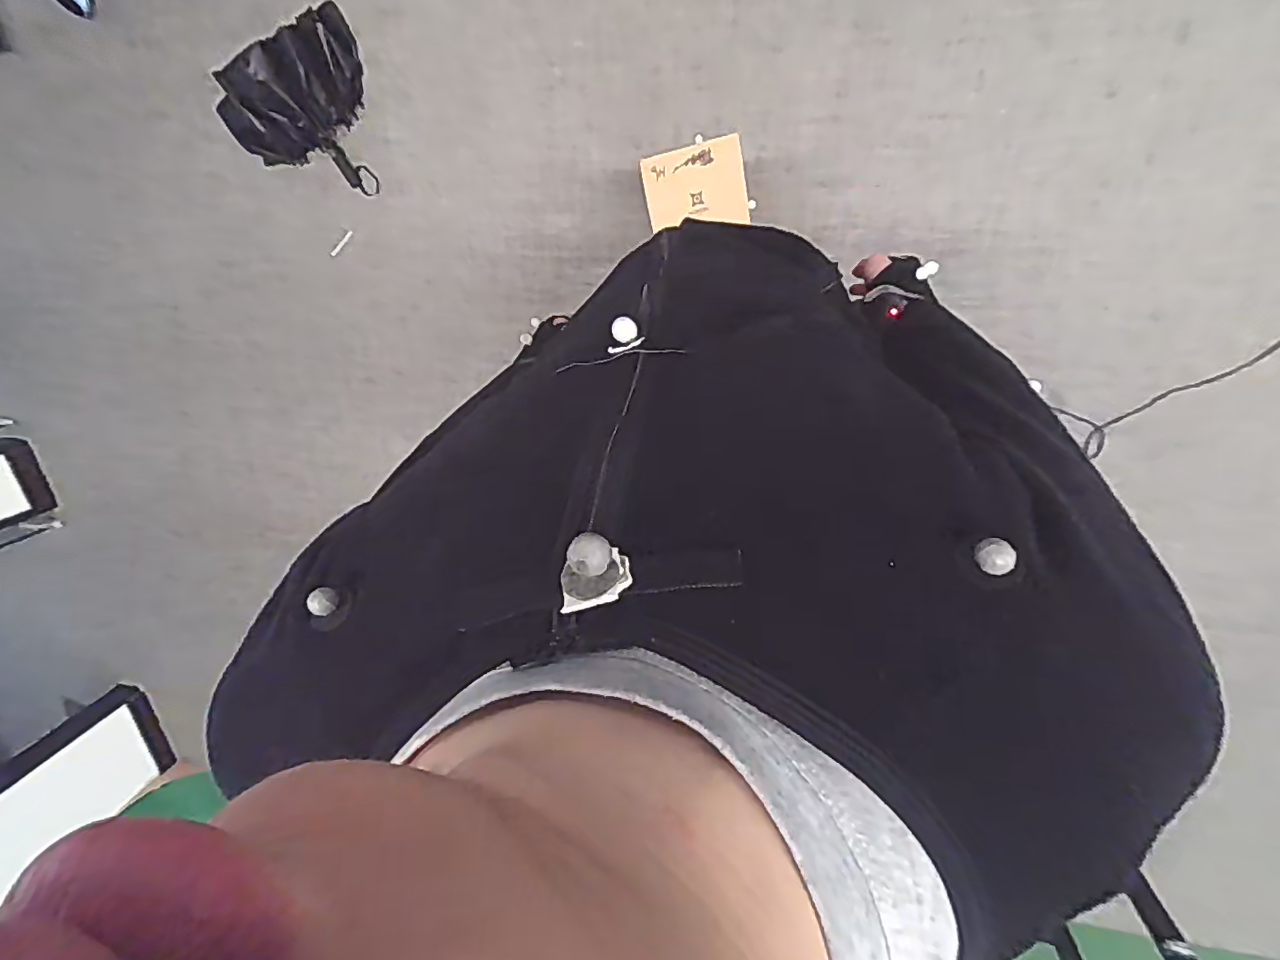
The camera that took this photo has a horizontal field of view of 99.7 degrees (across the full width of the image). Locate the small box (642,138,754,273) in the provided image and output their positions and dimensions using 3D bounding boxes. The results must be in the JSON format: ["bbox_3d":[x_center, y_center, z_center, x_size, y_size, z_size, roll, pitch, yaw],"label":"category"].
[{"bbox_3d":[0.113,-0.484,0.969,0.168,0.176,0.179,-7,113,14],"label":"small box"}]
